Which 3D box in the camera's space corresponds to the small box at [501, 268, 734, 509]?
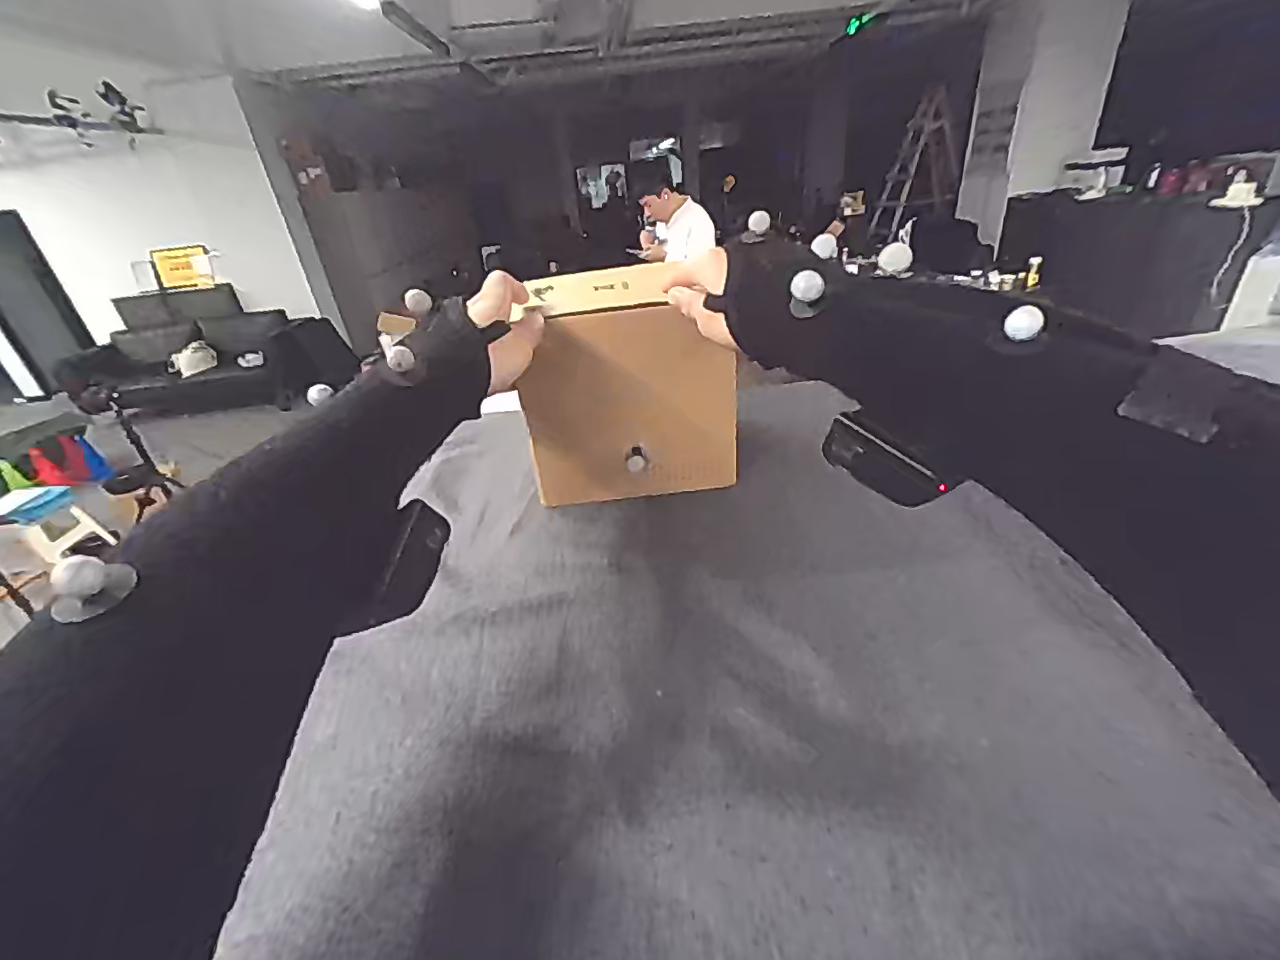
[{"bbox_3d":[-0.016,-0.089,0.505,0.179,0.176,0.168,-6,30,-2],"label":"small box"}]
